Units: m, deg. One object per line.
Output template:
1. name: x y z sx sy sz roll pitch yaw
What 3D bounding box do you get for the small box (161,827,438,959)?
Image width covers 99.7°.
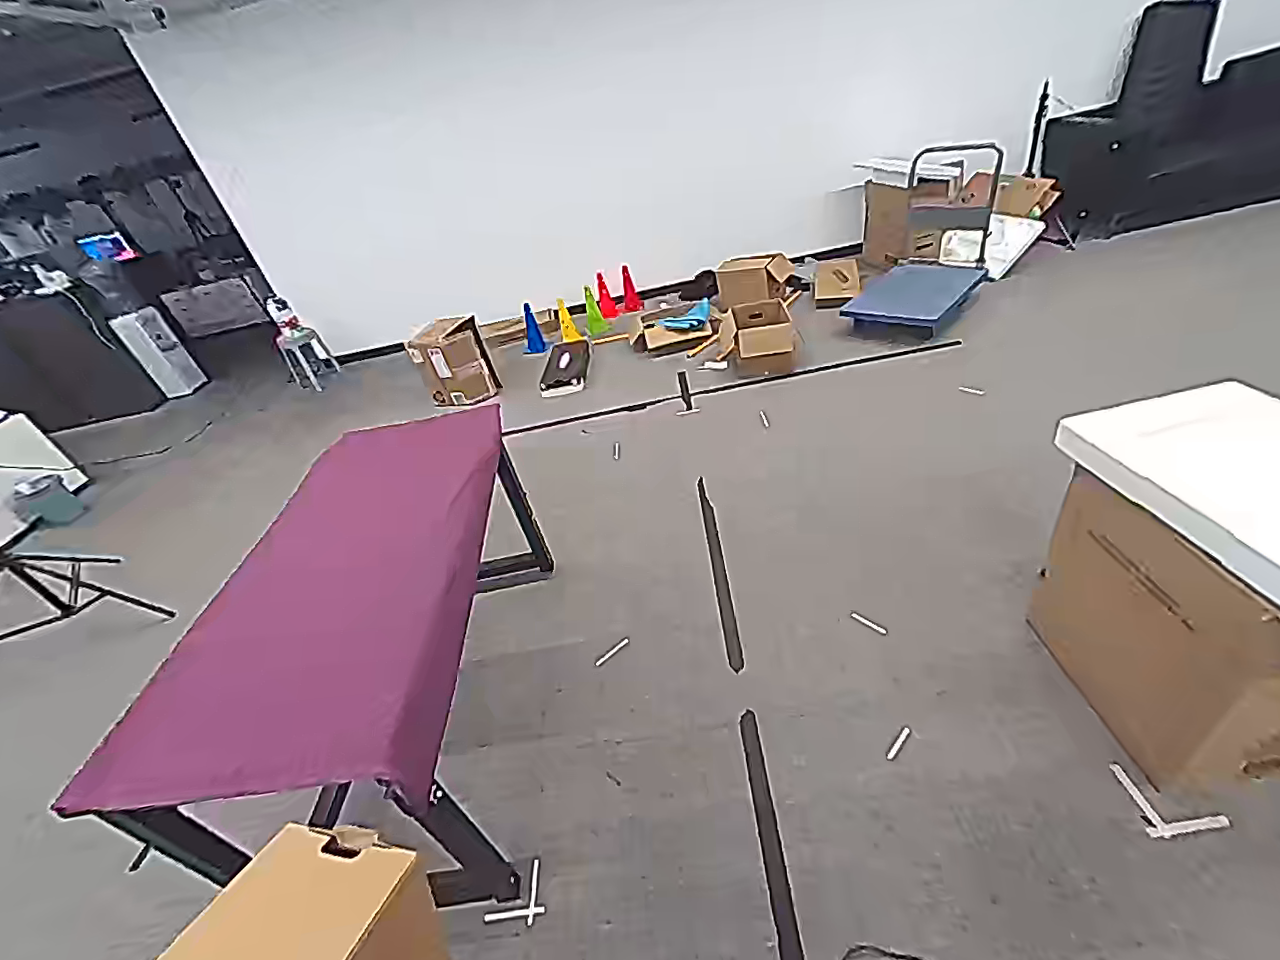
1. small box: -0.304 0.467 0.489 0.168 0.176 0.179 0 18 17
